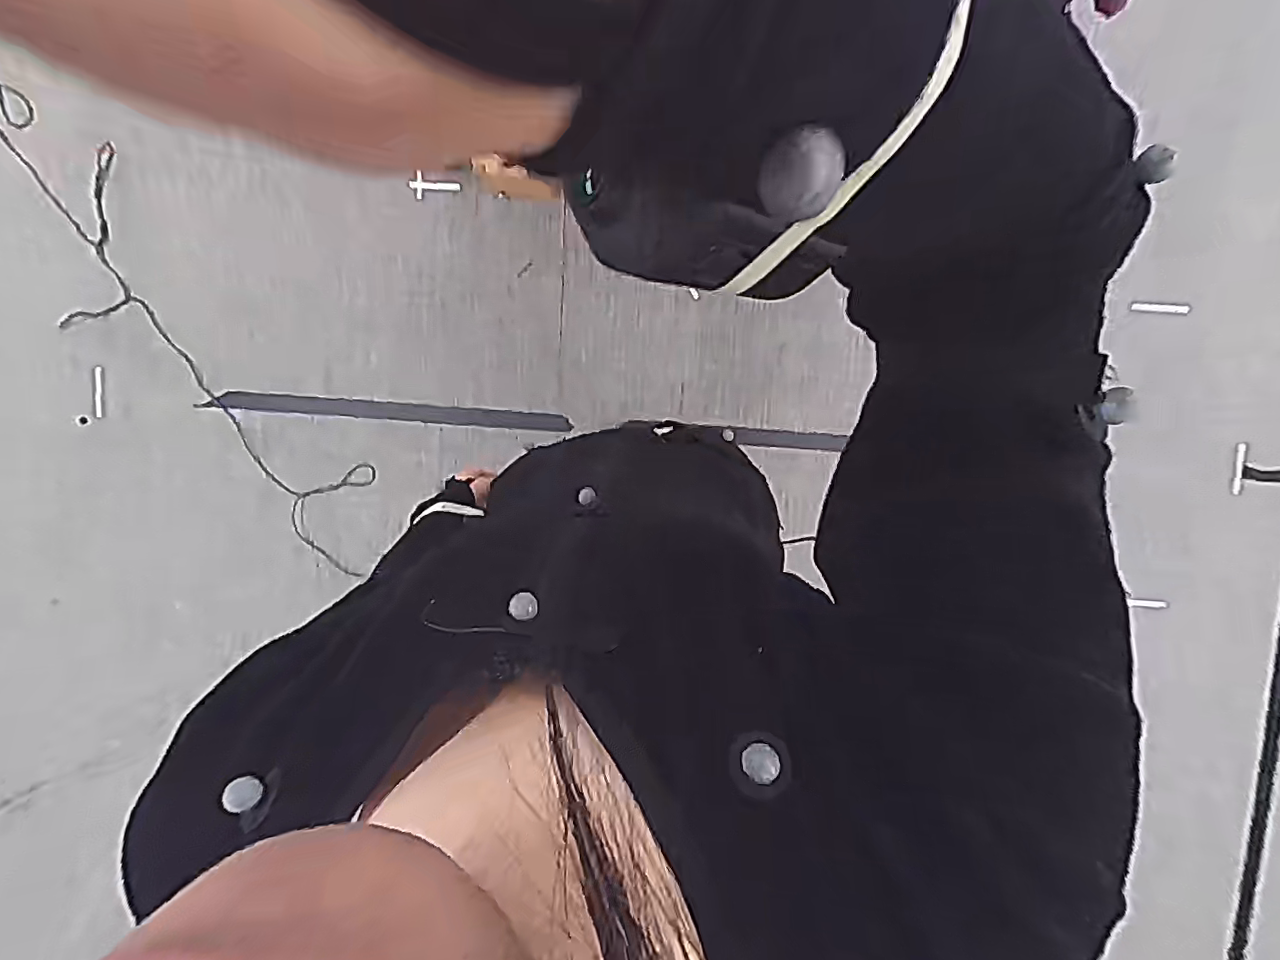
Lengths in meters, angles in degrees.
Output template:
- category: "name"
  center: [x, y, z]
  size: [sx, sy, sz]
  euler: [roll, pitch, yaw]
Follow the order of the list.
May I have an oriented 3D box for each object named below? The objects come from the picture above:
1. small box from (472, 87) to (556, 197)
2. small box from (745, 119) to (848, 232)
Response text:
- category: "small box"
  center: [-0.306, -0.827, 1.341]
  size: [0.168, 0.176, 0.179]
  euler: [4, 94, 0]
- category: "small box"
  center: [0.381, -0.745, 1.345]
  size: [0.179, 0.176, 0.168]
  euler: [20, 95, 0]
